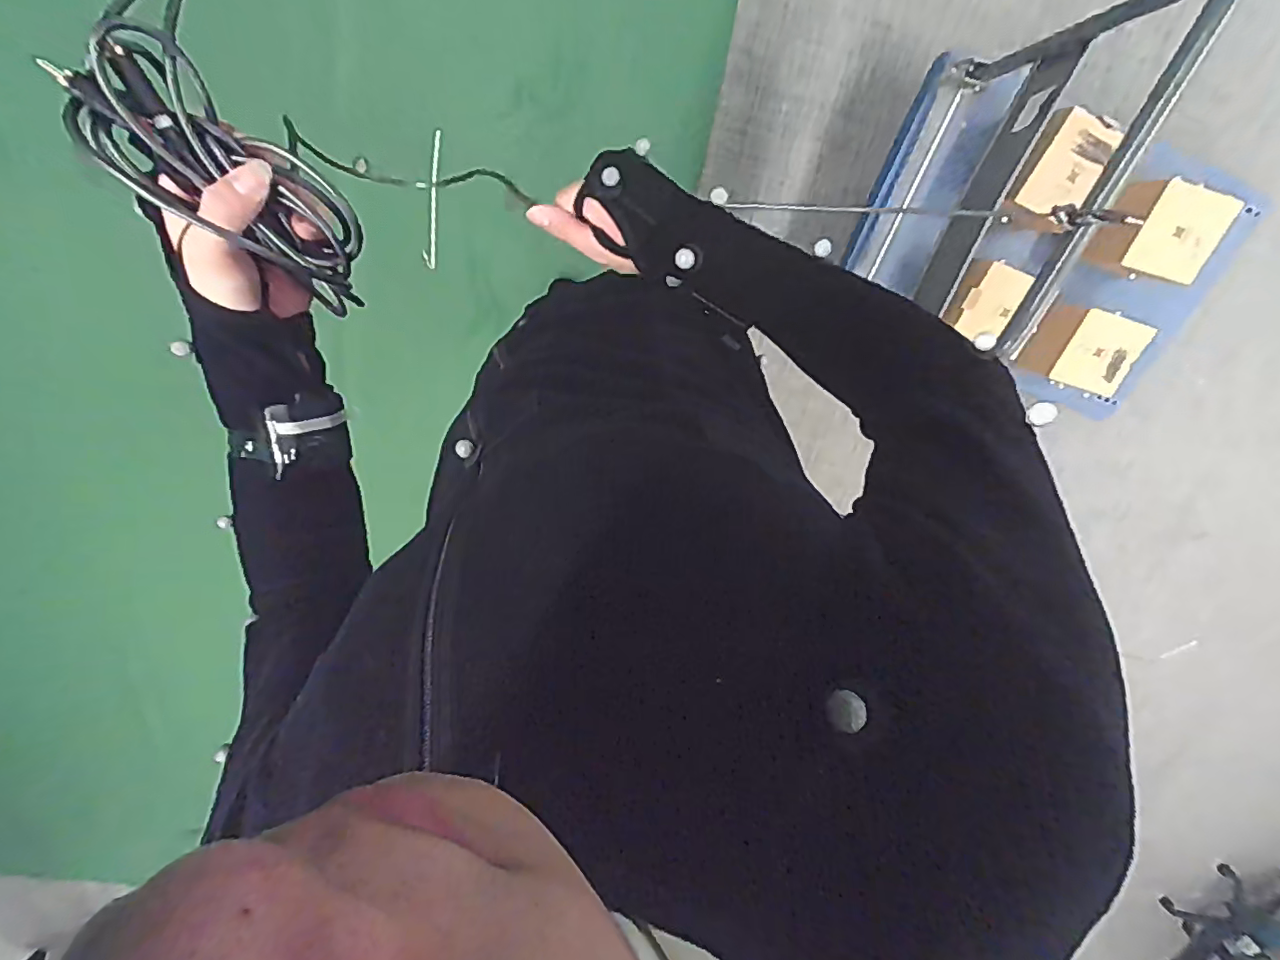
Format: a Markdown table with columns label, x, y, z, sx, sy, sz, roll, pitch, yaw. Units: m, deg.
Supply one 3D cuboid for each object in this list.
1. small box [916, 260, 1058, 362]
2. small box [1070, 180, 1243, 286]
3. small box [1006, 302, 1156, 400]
| label | x | y | z | sx | sy | sz | roll | pitch | yaw |
| --- | --- | --- | --- | --- | --- | --- | --- | --- | --- |
| small box | 0.784 | -0.394 | 1.242 | 0.179 | 0.176 | 0.168 | 17 | 115 | -8 |
| small box | 1.103 | -0.535 | 1.175 | 0.179 | 0.176 | 0.168 | 13 | 116 | -7 |
| small box | 1.033 | -0.313 | 1.284 | 0.179 | 0.176 | 0.168 | 15 | 115 | -7 |
